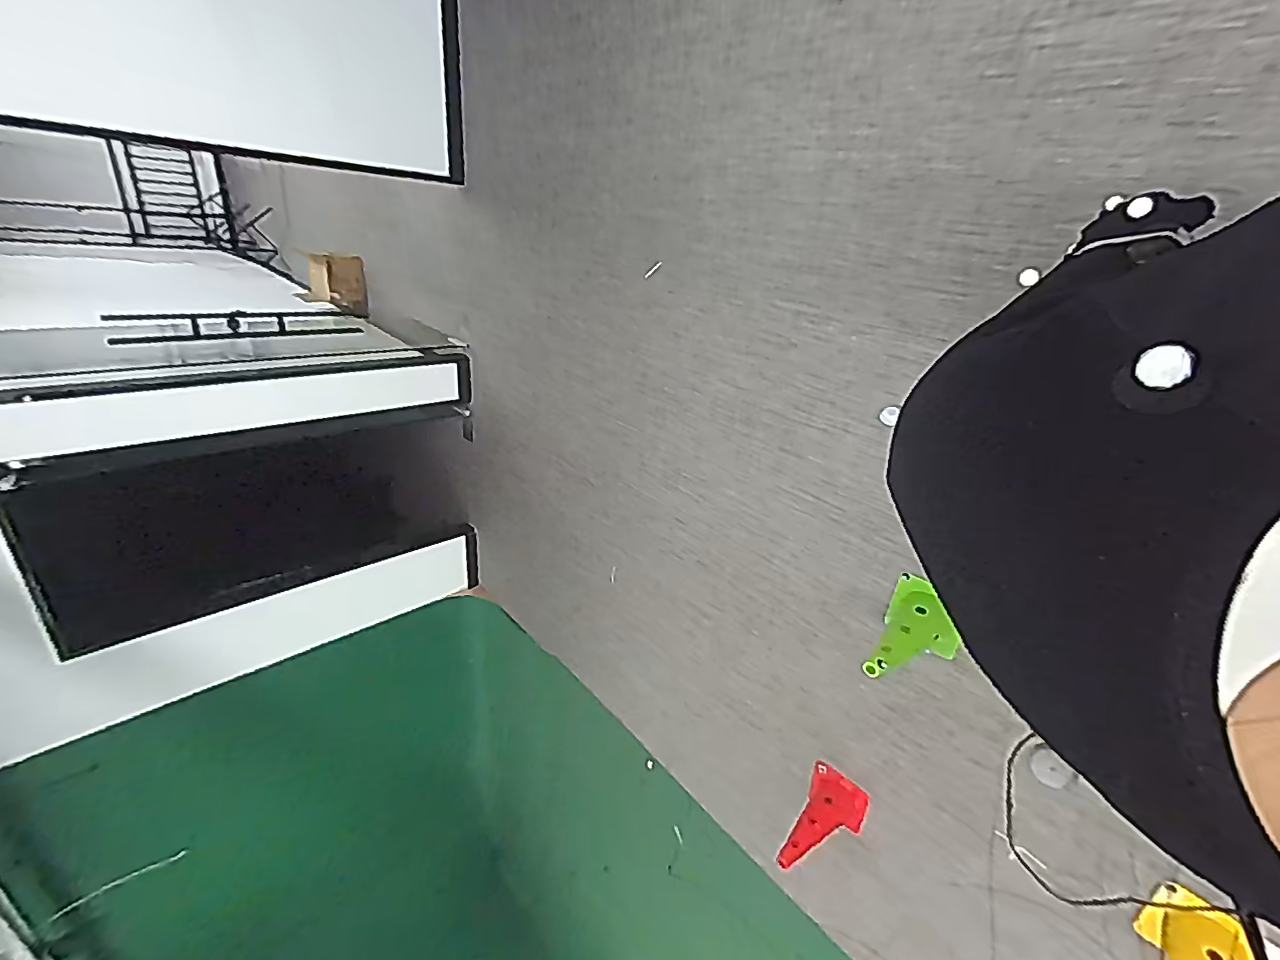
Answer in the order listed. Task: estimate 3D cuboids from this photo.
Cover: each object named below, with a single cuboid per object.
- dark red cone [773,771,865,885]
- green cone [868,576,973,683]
[{"bbox_3d":[0.568,1.186,1.800,0.202,0.394,0.201,23,121,42],"label":"dark red cone"},{"bbox_3d":[0.697,0.434,1.433,0.202,0.368,0.200,27,122,39],"label":"green cone"}]
